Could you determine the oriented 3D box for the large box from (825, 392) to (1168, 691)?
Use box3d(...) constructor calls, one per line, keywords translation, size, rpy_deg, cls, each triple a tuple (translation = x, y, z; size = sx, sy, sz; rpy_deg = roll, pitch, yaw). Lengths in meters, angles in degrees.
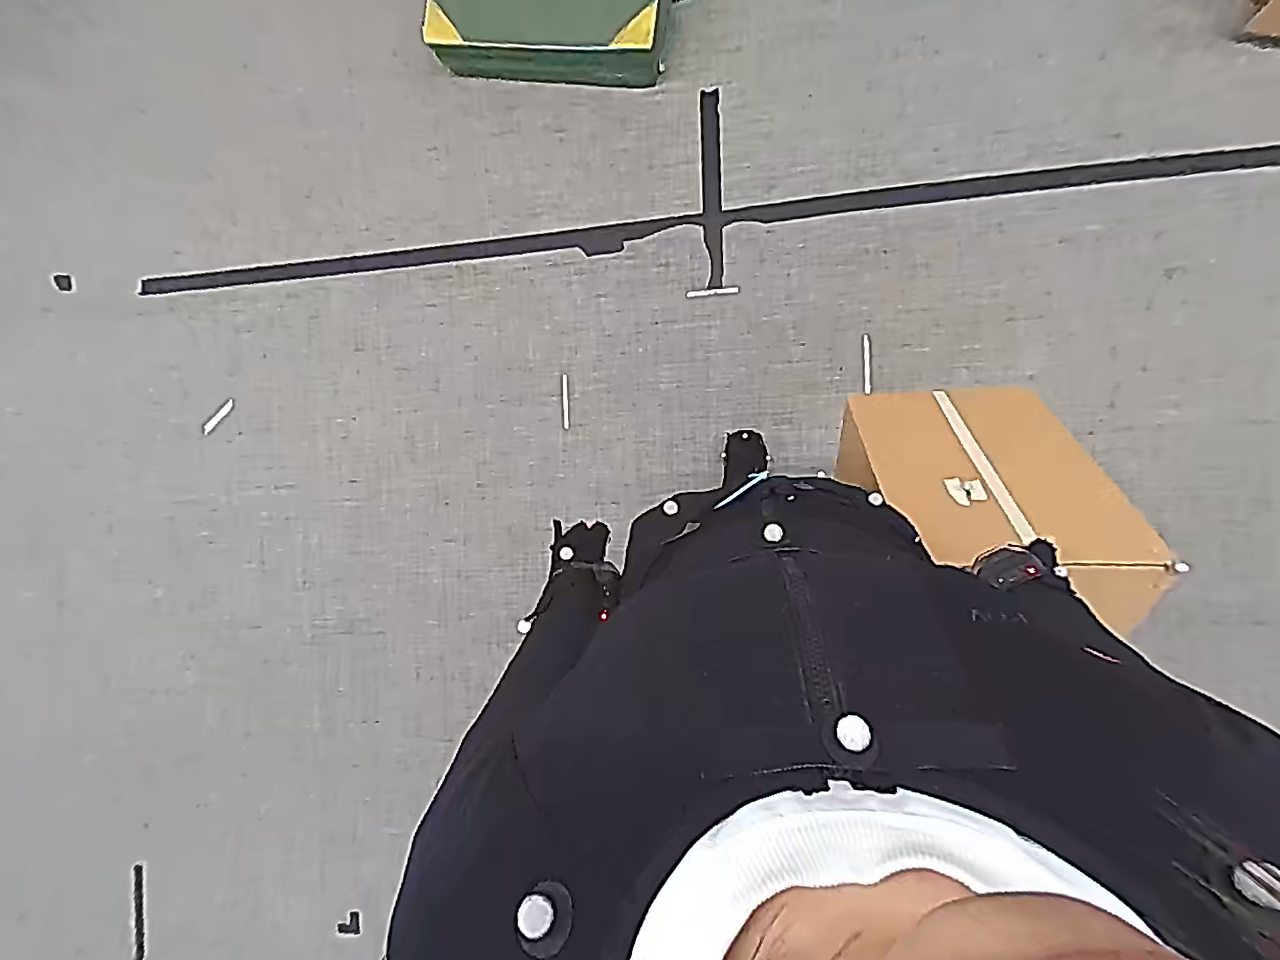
box3d(translation=(0.520, 0.091, 0.914), size=(0.320, 0.408, 0.320), rpy_deg=(-2, 132, 9), cls="large box")
